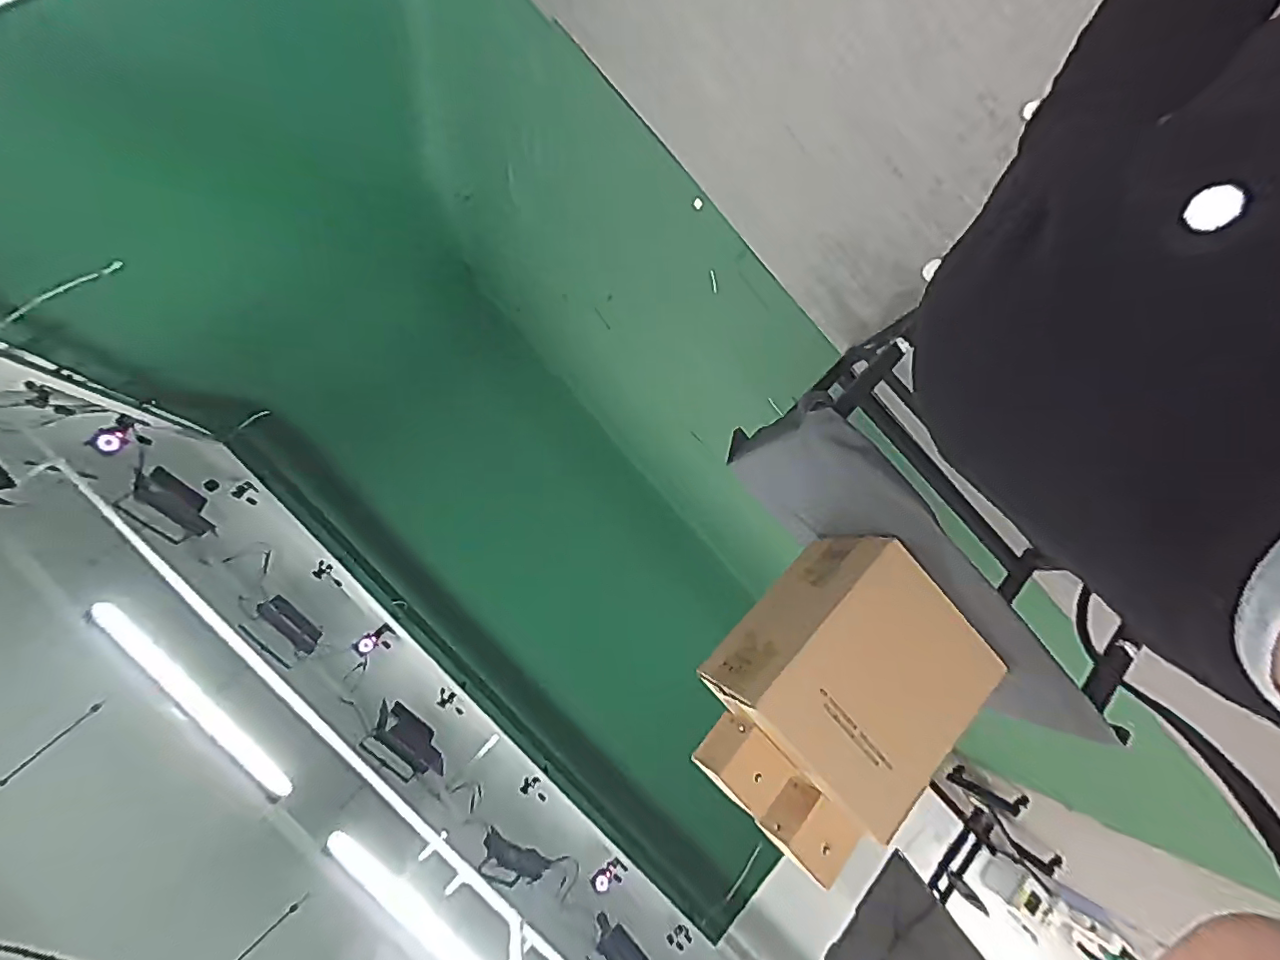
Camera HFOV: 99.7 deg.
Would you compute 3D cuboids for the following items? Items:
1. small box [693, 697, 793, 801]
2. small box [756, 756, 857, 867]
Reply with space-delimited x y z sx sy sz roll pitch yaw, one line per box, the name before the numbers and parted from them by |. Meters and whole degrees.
small box | 0.290 0.745 1.522 0.179 0.176 0.168 47 160 -8
small box | 0.472 0.928 1.530 0.179 0.176 0.168 47 160 -7
